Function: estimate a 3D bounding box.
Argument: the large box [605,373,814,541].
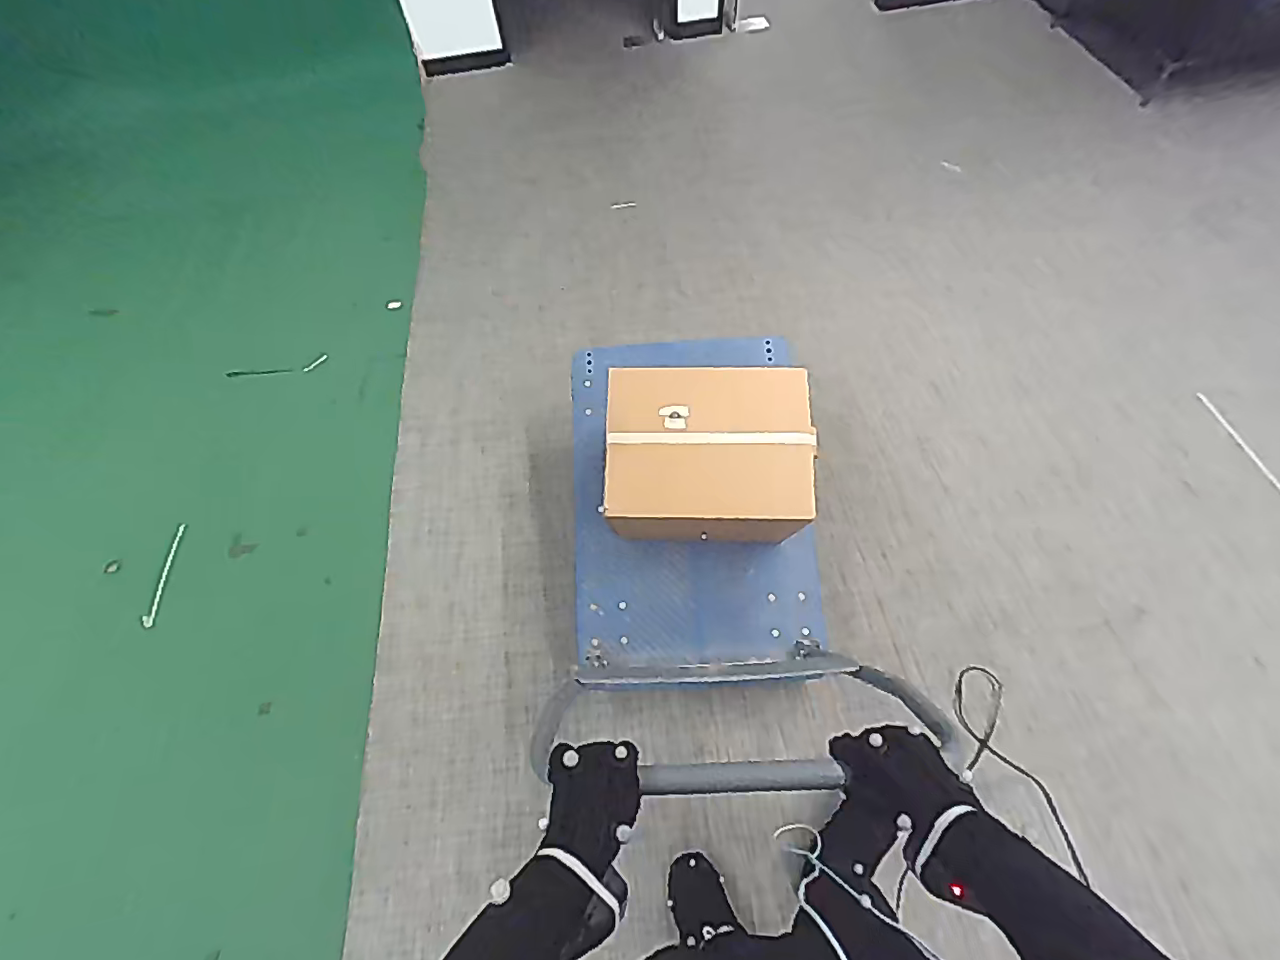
[{"bbox_3d":[0.145,-0.031,1.208,0.408,0.320,0.320,1,76,4],"label":"large box"}]
